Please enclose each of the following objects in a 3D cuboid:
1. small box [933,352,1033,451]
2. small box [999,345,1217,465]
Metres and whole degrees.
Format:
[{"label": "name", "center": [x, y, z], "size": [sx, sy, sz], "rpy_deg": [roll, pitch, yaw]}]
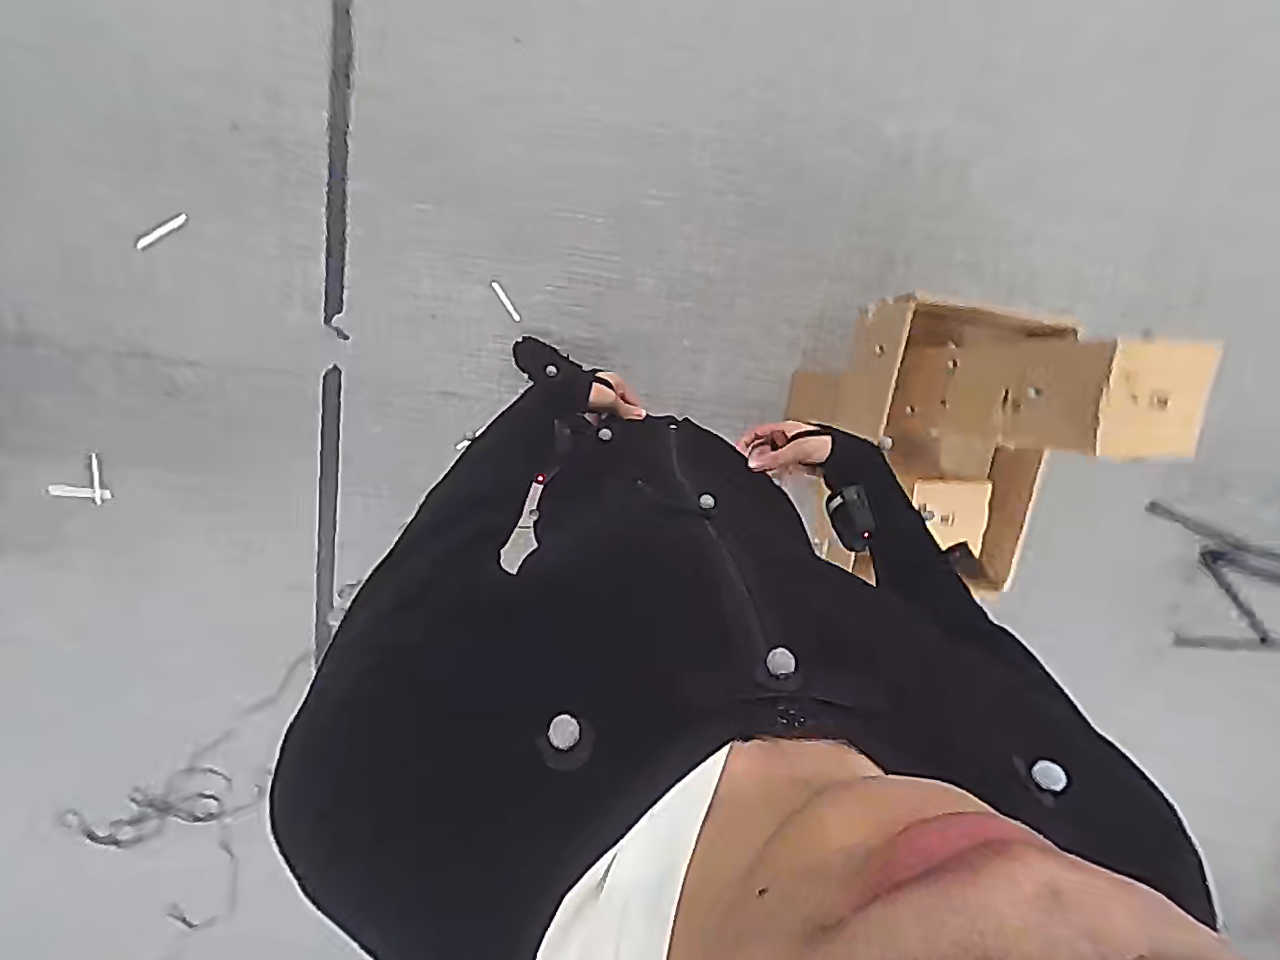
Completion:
[{"label": "small box", "center": [0.685, -0.147, 1.006], "size": [0.179, 0.176, 0.168], "rpy_deg": [3, 103, -9]}, {"label": "small box", "center": [0.715, -0.121, 0.845], "size": [0.179, 0.176, 0.168], "rpy_deg": [1, 103, -9]}]
